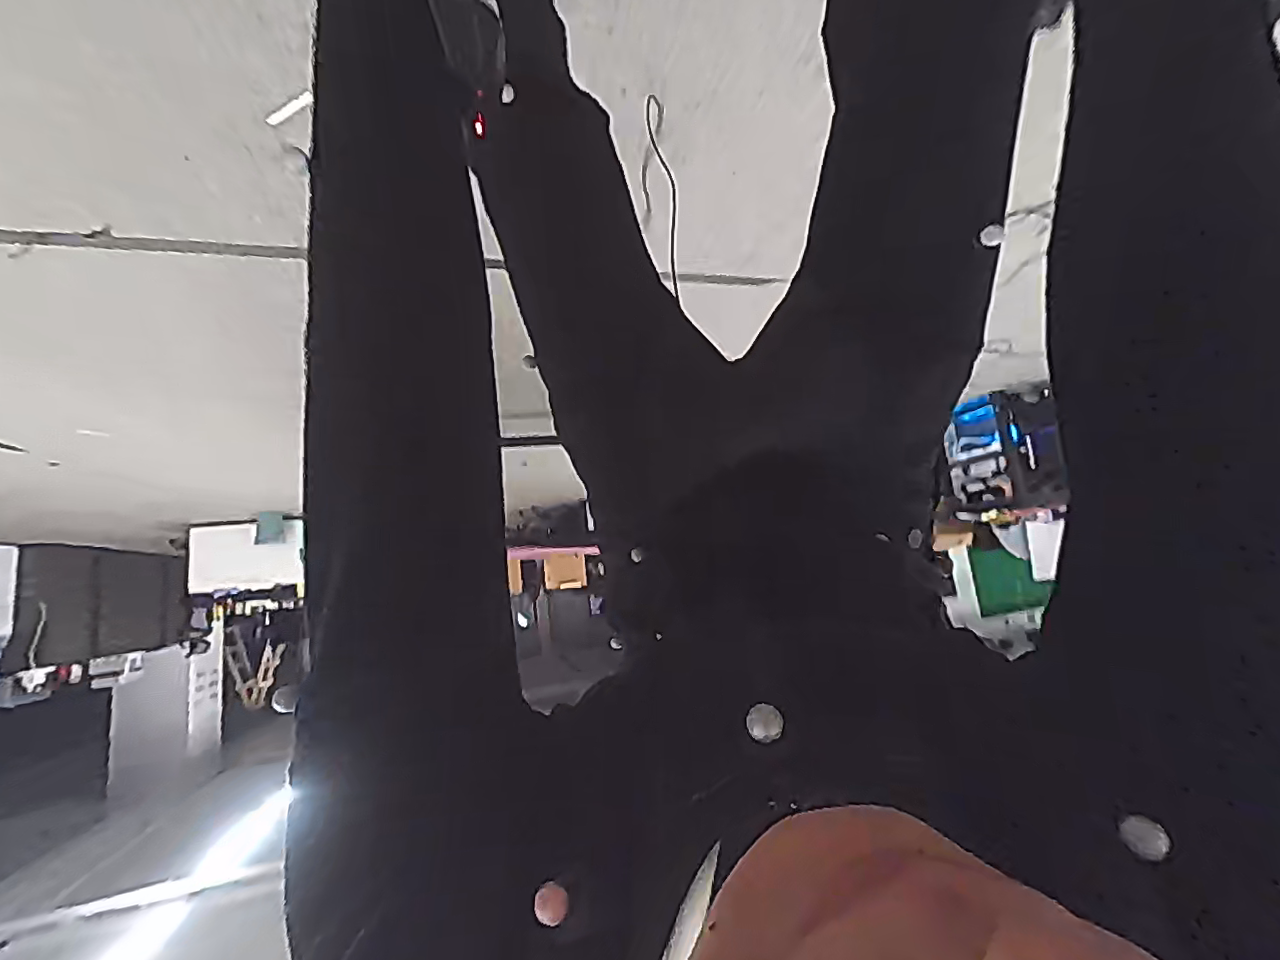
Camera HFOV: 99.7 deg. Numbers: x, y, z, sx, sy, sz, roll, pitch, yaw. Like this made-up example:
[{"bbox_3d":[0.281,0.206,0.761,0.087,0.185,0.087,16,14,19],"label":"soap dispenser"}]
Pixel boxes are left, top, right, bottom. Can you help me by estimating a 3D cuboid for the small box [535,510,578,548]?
[{"bbox_3d":[-0.418,0.239,2.685,0.168,0.176,0.179,-5,176,-23],"label":"small box"}]
